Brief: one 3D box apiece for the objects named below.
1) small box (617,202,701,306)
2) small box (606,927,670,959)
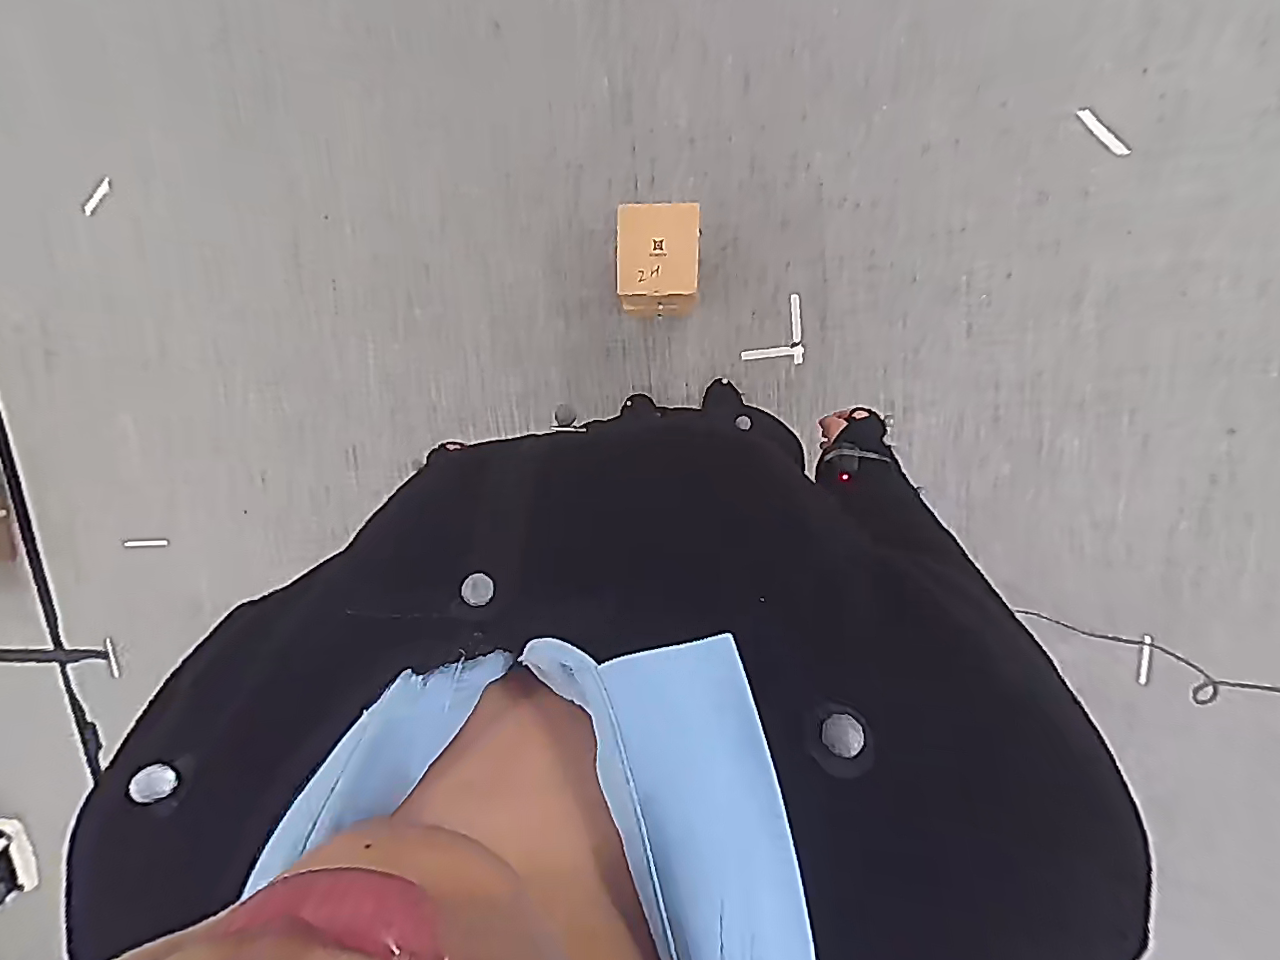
[{"bbox_3d":[0.044,-0.476,1.158,0.168,0.176,0.179,2,101,7],"label":"small box"},{"bbox_3d":[-0.003,1.379,1.477,0.168,0.176,0.179,-4,100,7],"label":"small box"}]
